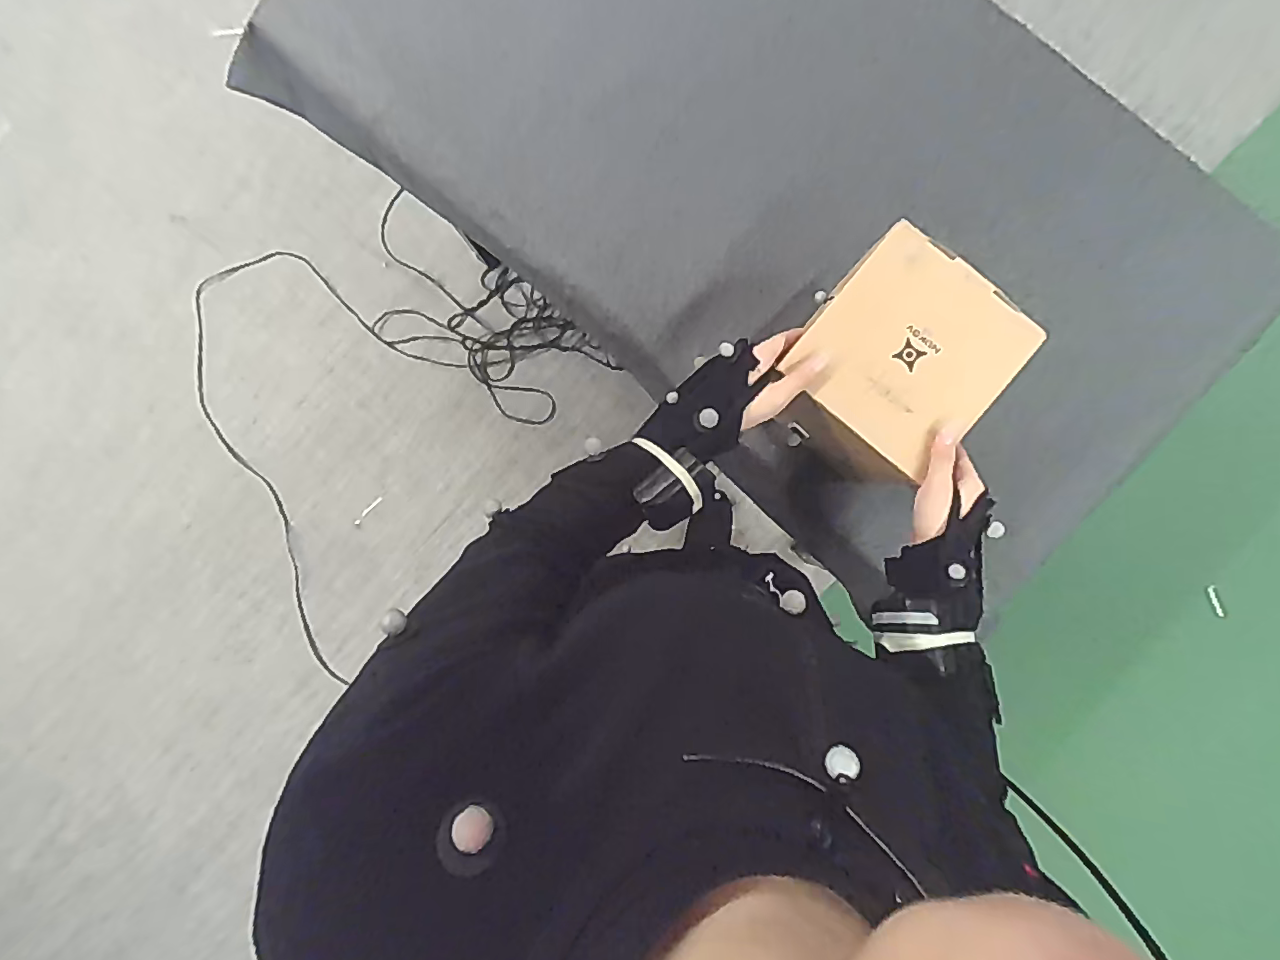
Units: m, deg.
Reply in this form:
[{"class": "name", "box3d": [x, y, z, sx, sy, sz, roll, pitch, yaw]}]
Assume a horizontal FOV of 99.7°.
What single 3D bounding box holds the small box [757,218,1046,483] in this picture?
[{"class": "small box", "box3d": [0.241, -0.114, 0.552, 0.168, 0.176, 0.179, 39, 91, 2]}]
